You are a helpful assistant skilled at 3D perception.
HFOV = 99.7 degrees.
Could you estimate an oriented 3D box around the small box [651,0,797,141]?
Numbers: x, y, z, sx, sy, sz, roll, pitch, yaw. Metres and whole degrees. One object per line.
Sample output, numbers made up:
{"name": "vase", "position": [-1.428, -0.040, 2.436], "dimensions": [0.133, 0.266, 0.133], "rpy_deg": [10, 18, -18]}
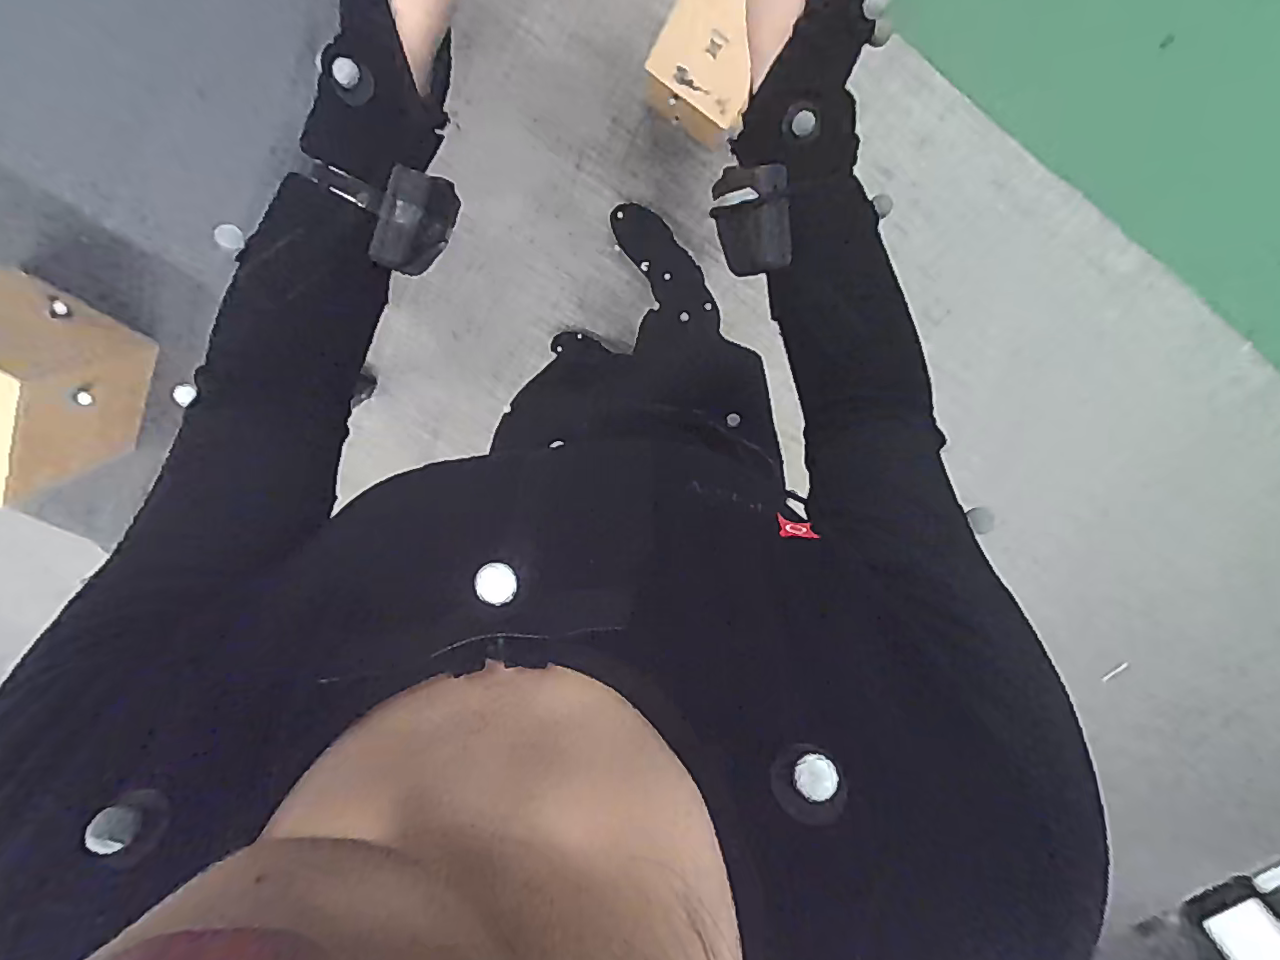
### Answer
{"name": "small box", "position": [0.128, -0.710, 0.909], "dimensions": [0.168, 0.176, 0.179], "rpy_deg": [30, 114, -14]}

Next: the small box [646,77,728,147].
{"name": "small box", "position": [0.130, -0.783, 1.058], "dimensions": [0.179, 0.176, 0.168], "rpy_deg": [29, 114, -11]}
